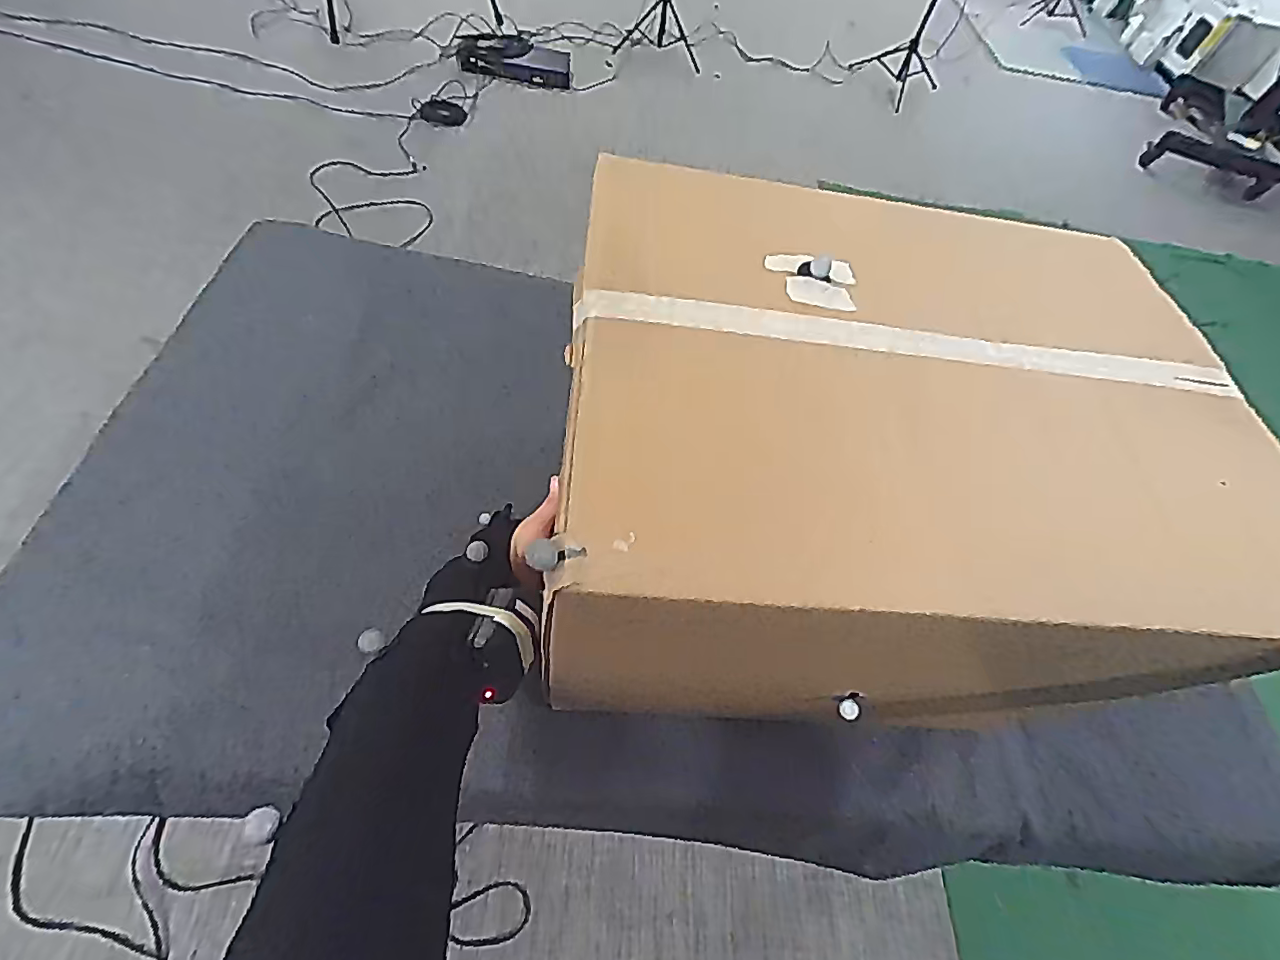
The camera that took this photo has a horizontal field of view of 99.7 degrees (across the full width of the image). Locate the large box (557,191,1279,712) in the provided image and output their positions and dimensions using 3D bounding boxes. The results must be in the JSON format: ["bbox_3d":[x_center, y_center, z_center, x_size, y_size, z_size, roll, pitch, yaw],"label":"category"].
[{"bbox_3d":[0.146,0.013,0.457,0.408,0.320,0.320,4,58,-6],"label":"large box"}]
